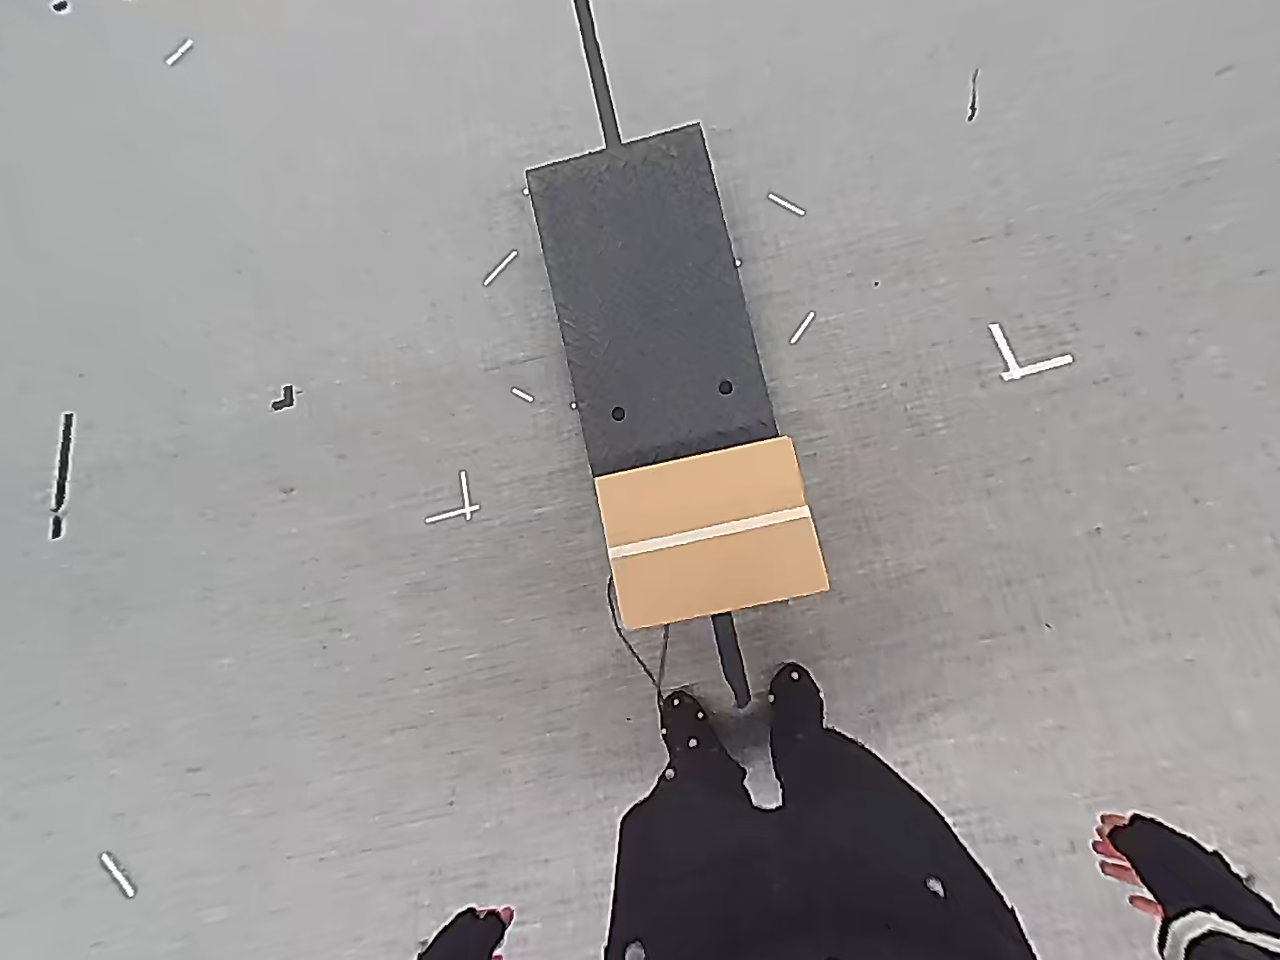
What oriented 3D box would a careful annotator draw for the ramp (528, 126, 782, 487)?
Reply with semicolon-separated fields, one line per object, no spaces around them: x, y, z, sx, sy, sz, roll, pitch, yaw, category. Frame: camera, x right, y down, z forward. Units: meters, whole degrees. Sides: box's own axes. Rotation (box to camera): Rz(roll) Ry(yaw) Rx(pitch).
0.042;-0.411;1.432;0.509;0.206;0.991;-15;76;3;ramp

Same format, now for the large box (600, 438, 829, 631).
0.158;0.128;1.220;0.408;0.320;0.320;-13;79;4;large box
